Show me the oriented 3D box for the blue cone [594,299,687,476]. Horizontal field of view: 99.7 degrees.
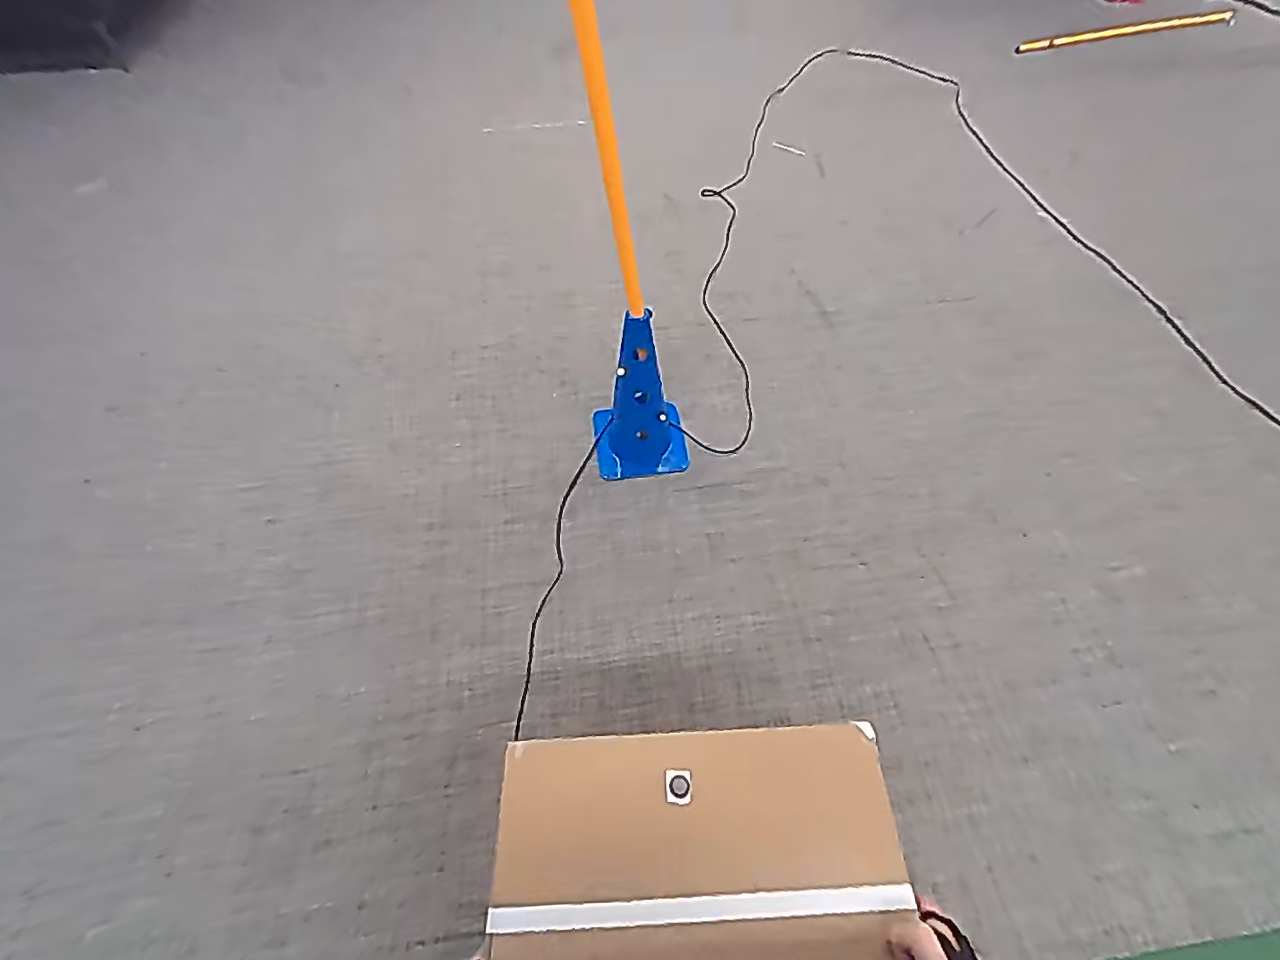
[{"bbox_3d":[-0.004,-0.185,1.070,0.193,0.380,0.192,-10,56,-5],"label":"blue cone"}]
